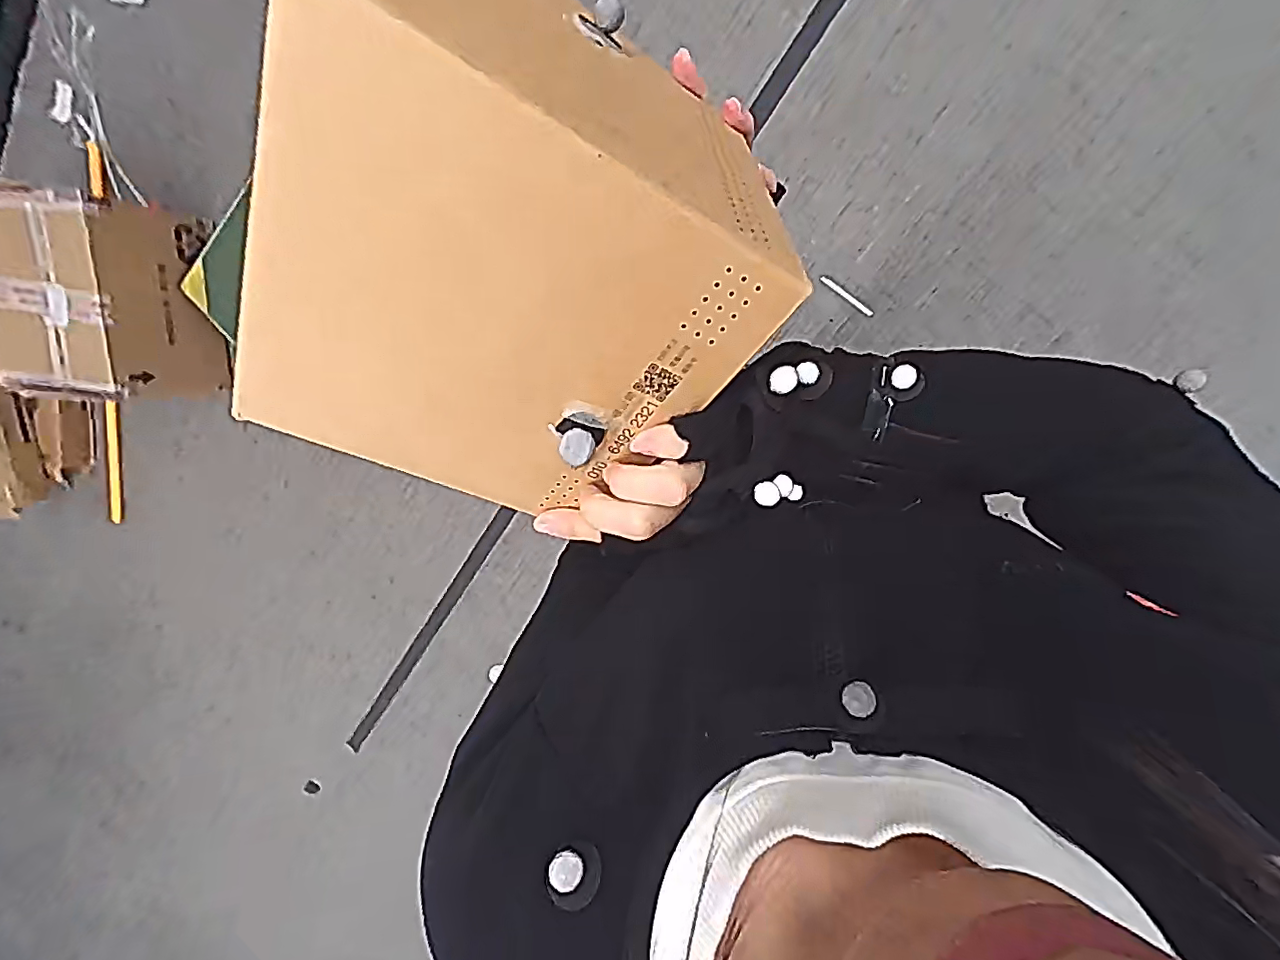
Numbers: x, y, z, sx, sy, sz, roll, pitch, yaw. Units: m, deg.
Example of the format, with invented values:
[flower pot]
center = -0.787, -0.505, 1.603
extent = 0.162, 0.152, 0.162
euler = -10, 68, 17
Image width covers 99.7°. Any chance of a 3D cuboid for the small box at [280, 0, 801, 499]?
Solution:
[small box]
center = -0.047, -0.119, 0.277
extent = 0.176, 0.179, 0.168
euler = 22, 134, -24
